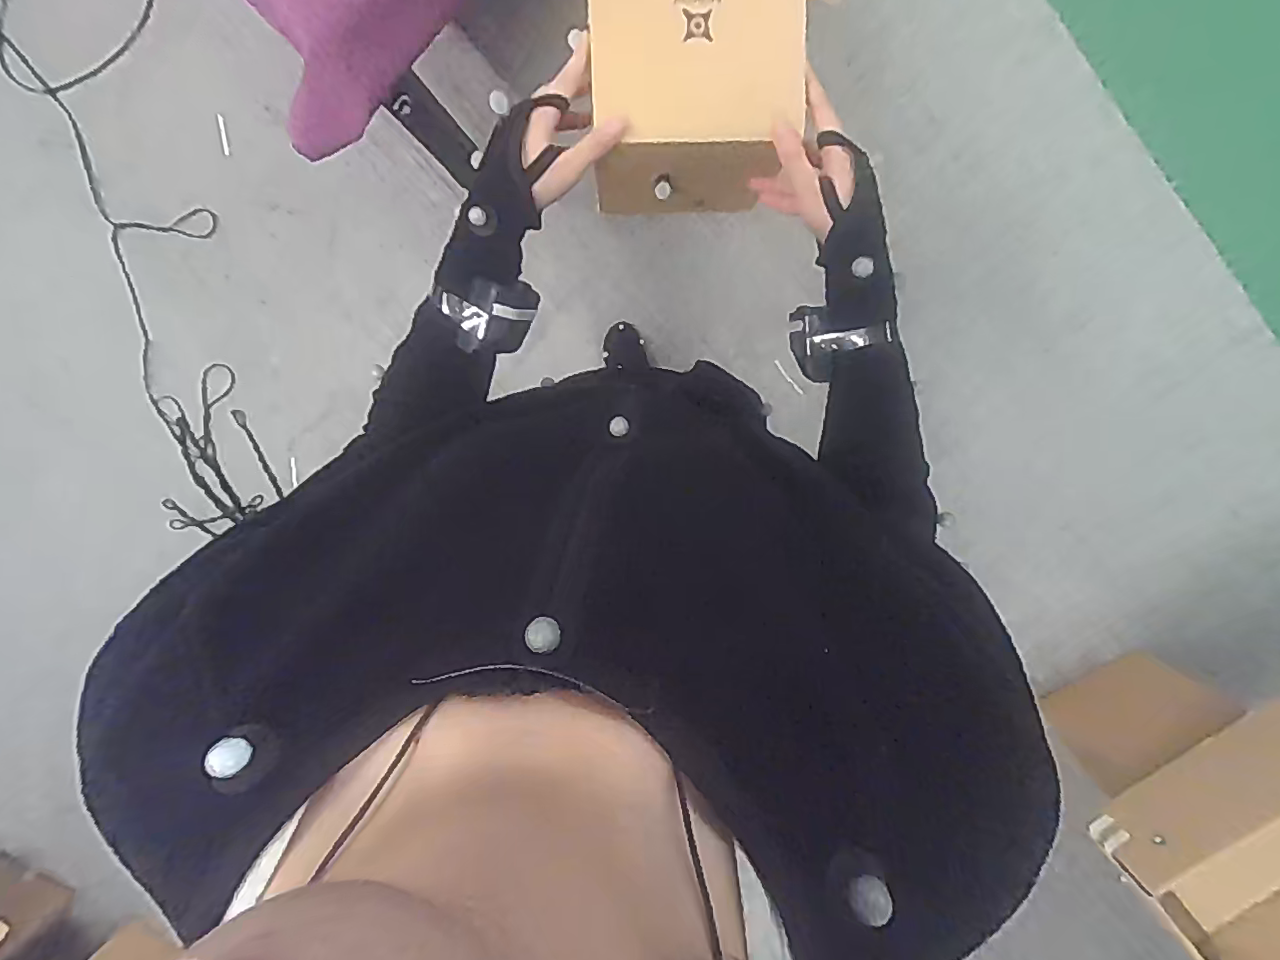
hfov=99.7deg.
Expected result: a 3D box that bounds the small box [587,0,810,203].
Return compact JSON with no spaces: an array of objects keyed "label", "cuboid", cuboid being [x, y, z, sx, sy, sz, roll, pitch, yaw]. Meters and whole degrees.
[{"label":"small box","cuboid":[0.042,-0.359,0.475,0.168,0.176,0.179,-3,98,-2]}]
